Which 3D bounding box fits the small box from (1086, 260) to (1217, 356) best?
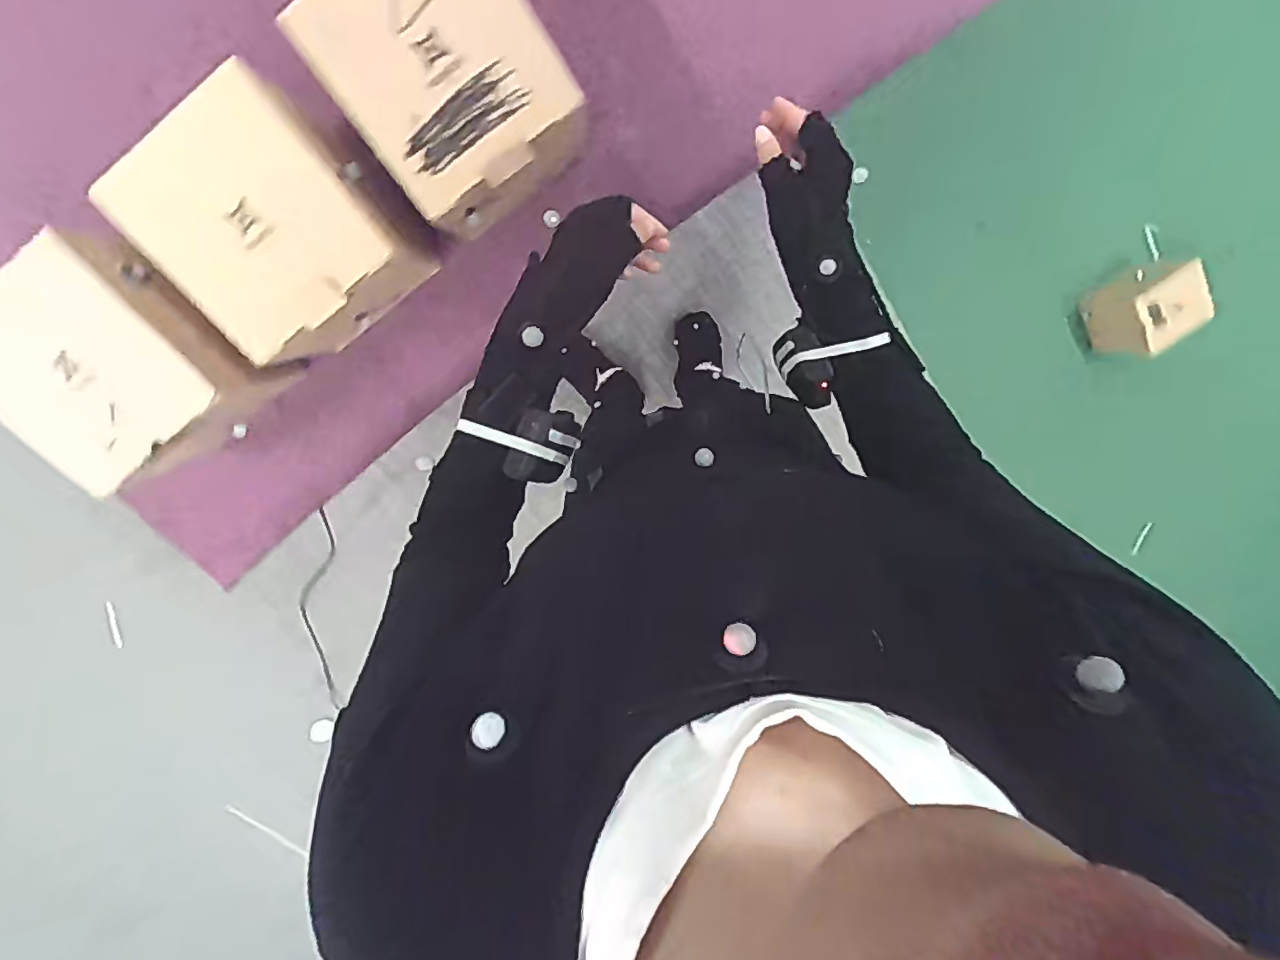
[{"bbox_3d":[1.310,-0.443,1.402,0.179,0.176,0.168,-36,108,6],"label":"small box"}]
